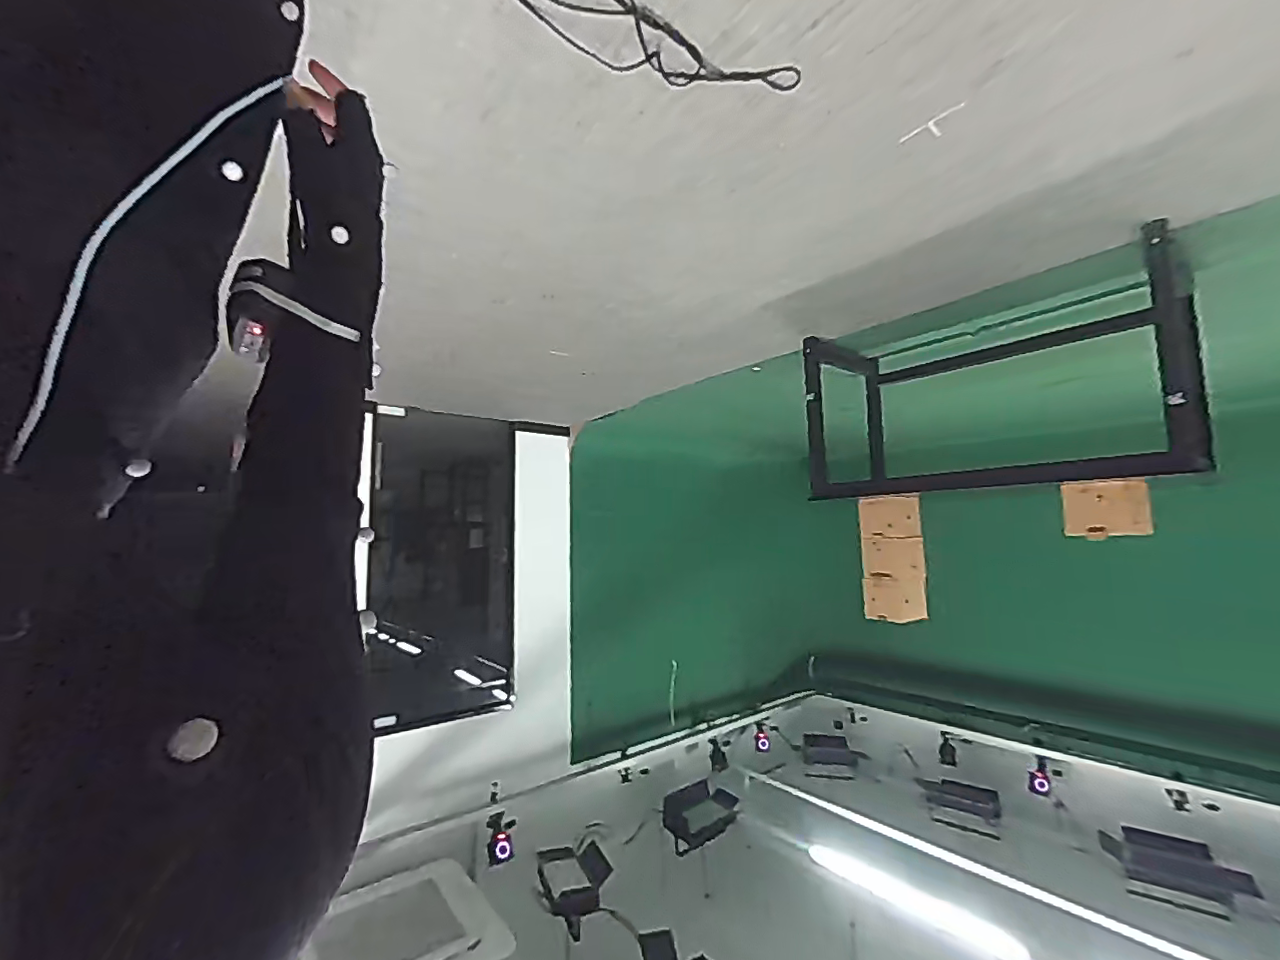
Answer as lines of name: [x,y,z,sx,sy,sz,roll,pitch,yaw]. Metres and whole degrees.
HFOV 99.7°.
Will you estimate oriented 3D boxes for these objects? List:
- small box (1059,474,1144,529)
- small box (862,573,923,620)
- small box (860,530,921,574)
small box: [1.479,0.070,1.734,0.179,0.176,0.168,3,174,-31]
small box: [1.041,0.476,2.237,0.179,0.176,0.168,1,174,-32]
small box: [1.040,0.296,2.248,0.179,0.176,0.168,2,173,-32]
